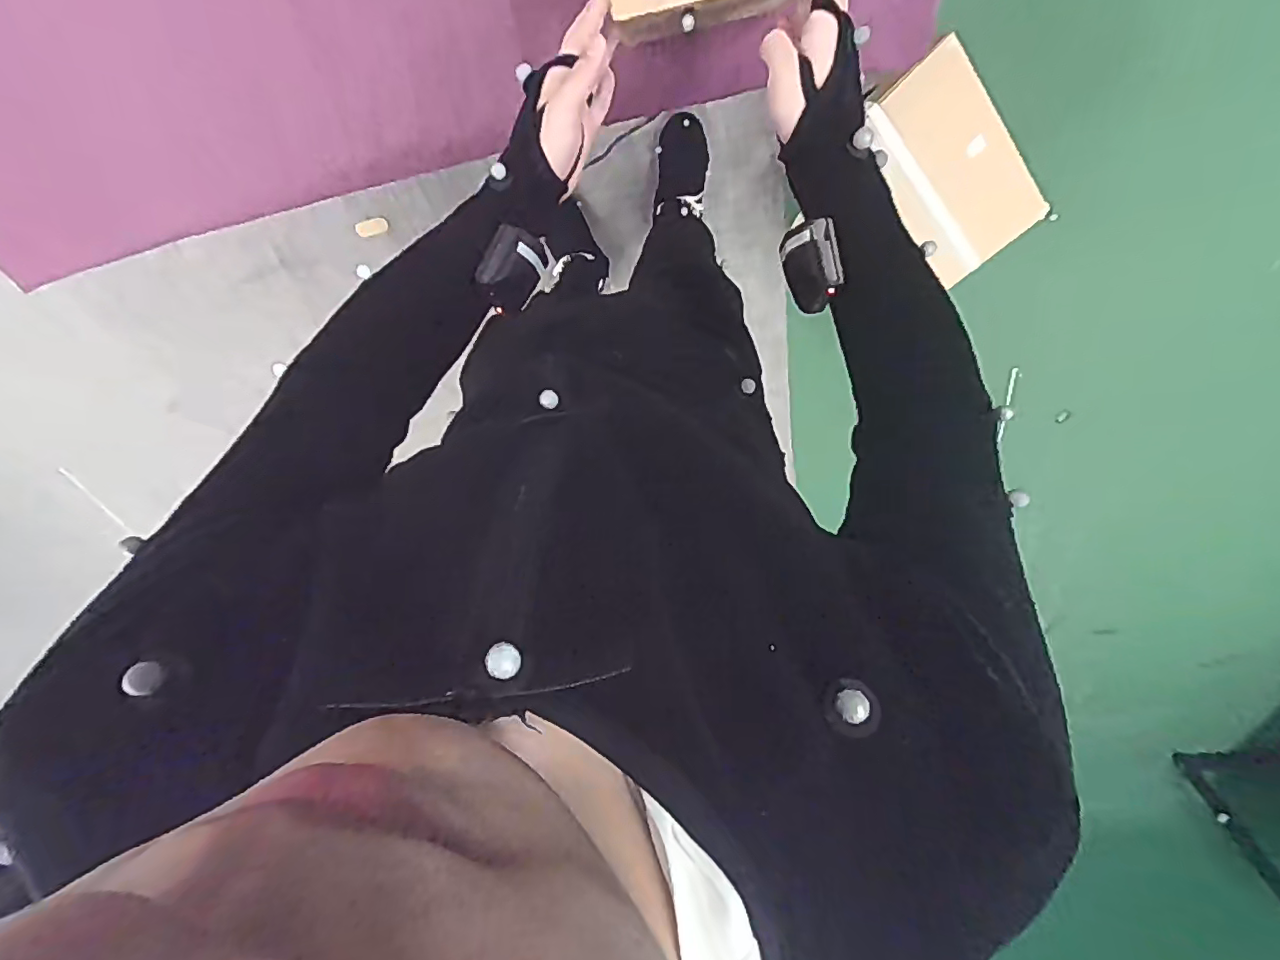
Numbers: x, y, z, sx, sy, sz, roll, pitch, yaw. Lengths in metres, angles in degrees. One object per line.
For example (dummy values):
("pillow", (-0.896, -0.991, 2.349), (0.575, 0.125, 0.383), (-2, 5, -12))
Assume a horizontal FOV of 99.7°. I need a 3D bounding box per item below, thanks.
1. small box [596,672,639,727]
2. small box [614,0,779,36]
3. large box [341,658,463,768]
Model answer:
("small box", (-0.099, 1.007, 2.479), (0.168, 0.176, 0.179), (-2, 126, 7))
("small box", (0.049, -0.517, 0.466), (0.168, 0.176, 0.179), (-7, 124, 8))
("large box", (-1.115, 1.098, 2.554), (0.408, 0.320, 0.320), (26, 124, -18))
